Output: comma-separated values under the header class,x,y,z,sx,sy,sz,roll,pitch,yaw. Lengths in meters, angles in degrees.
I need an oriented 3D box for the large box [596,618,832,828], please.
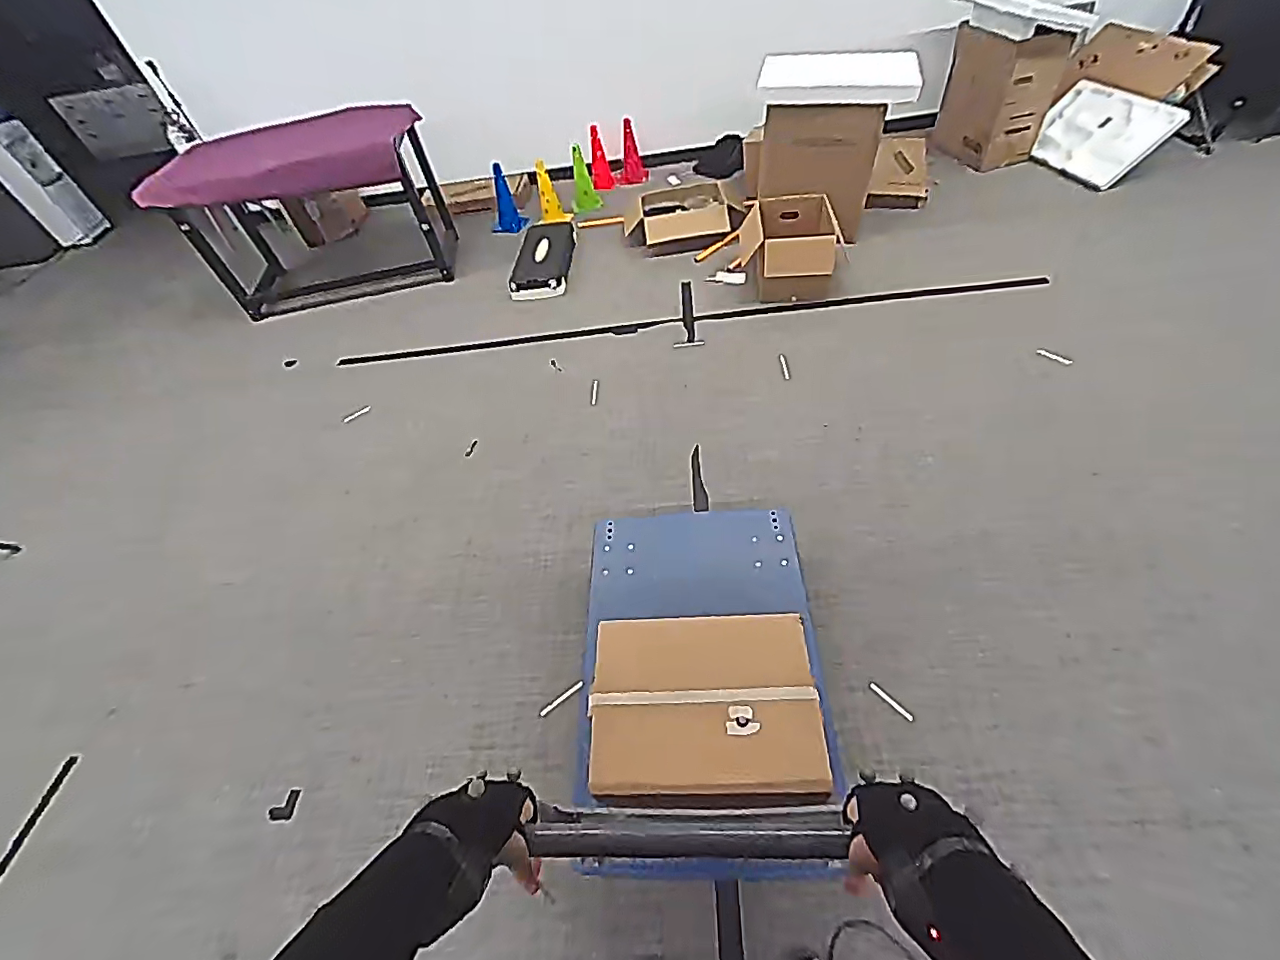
class,x,y,z,sx,sy,sz,roll,pitch,yaw
large box,0.133,0.502,1.106,0.408,0.320,0.320,-4,51,5
